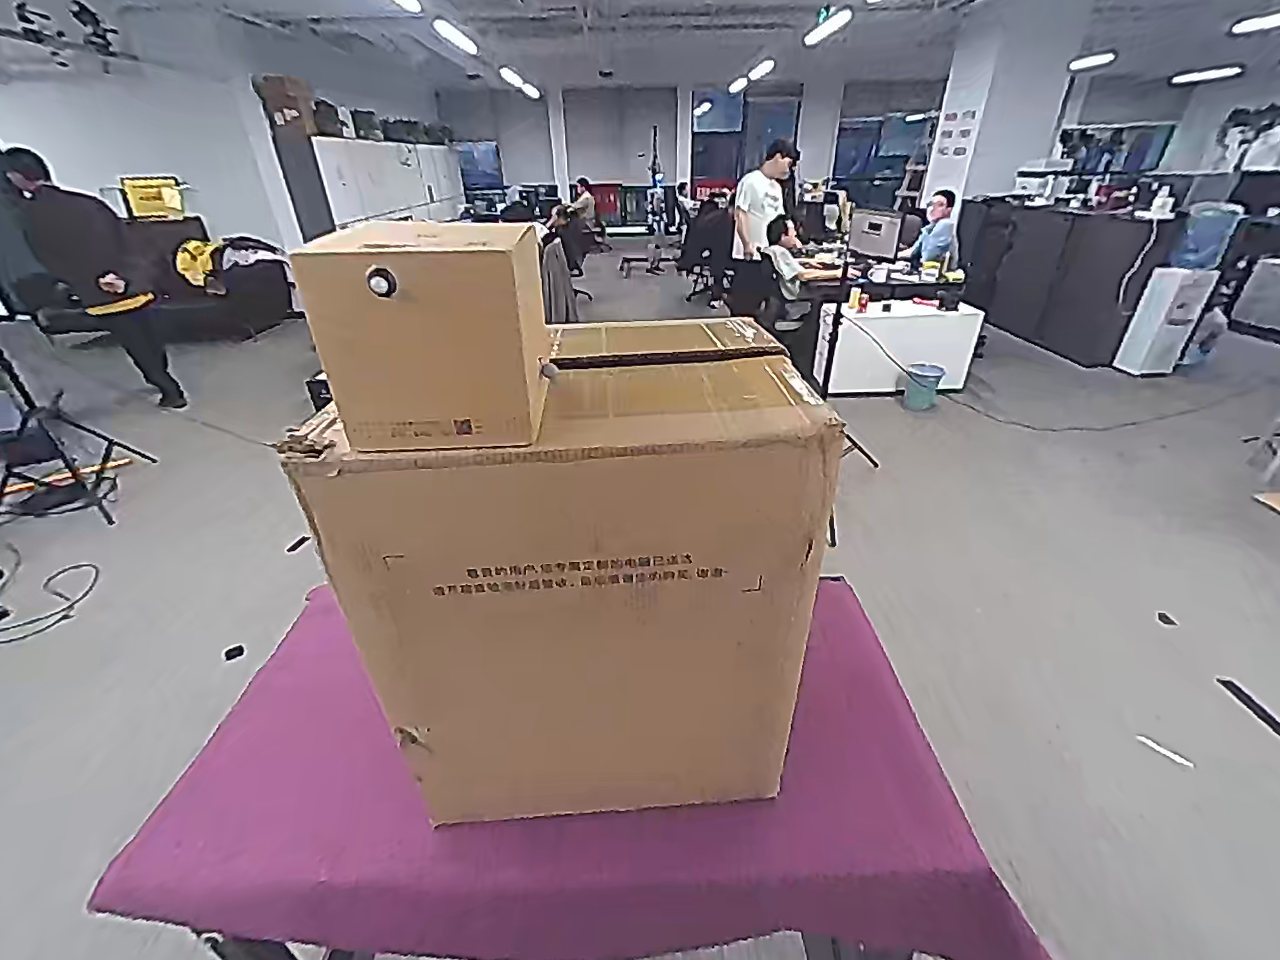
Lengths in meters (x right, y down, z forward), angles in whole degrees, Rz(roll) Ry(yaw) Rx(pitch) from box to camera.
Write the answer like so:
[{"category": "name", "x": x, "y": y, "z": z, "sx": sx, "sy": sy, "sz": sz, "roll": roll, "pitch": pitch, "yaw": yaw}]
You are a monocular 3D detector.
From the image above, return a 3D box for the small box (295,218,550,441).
[{"category": "small box", "x": -0.178, "y": -0.147, "z": 0.510, "sx": 0.168, "sy": 0.176, "sz": 0.179, "roll": -2, "pitch": 31, "yaw": -3}]
